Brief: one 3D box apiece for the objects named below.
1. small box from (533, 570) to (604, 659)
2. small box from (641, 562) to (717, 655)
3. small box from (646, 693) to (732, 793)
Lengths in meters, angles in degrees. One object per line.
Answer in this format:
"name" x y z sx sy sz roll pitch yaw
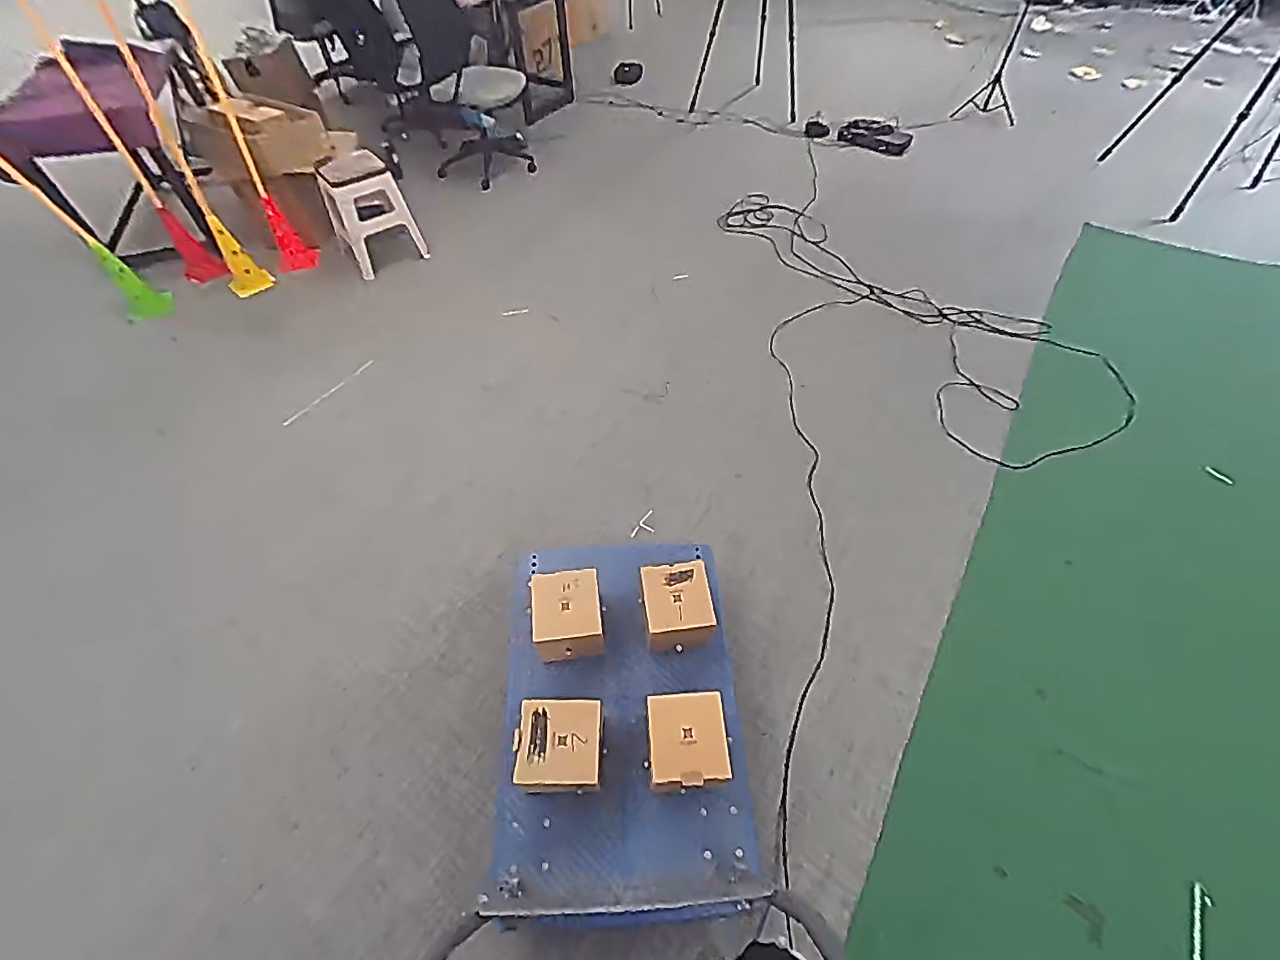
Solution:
"small box" -0.181 0.350 1.385 0.168 0.176 0.179 -5 56 -5
"small box" 0.094 0.334 1.401 0.168 0.176 0.179 -6 56 -4
"small box" 0.102 0.596 1.221 0.168 0.176 0.179 -2 56 -3
